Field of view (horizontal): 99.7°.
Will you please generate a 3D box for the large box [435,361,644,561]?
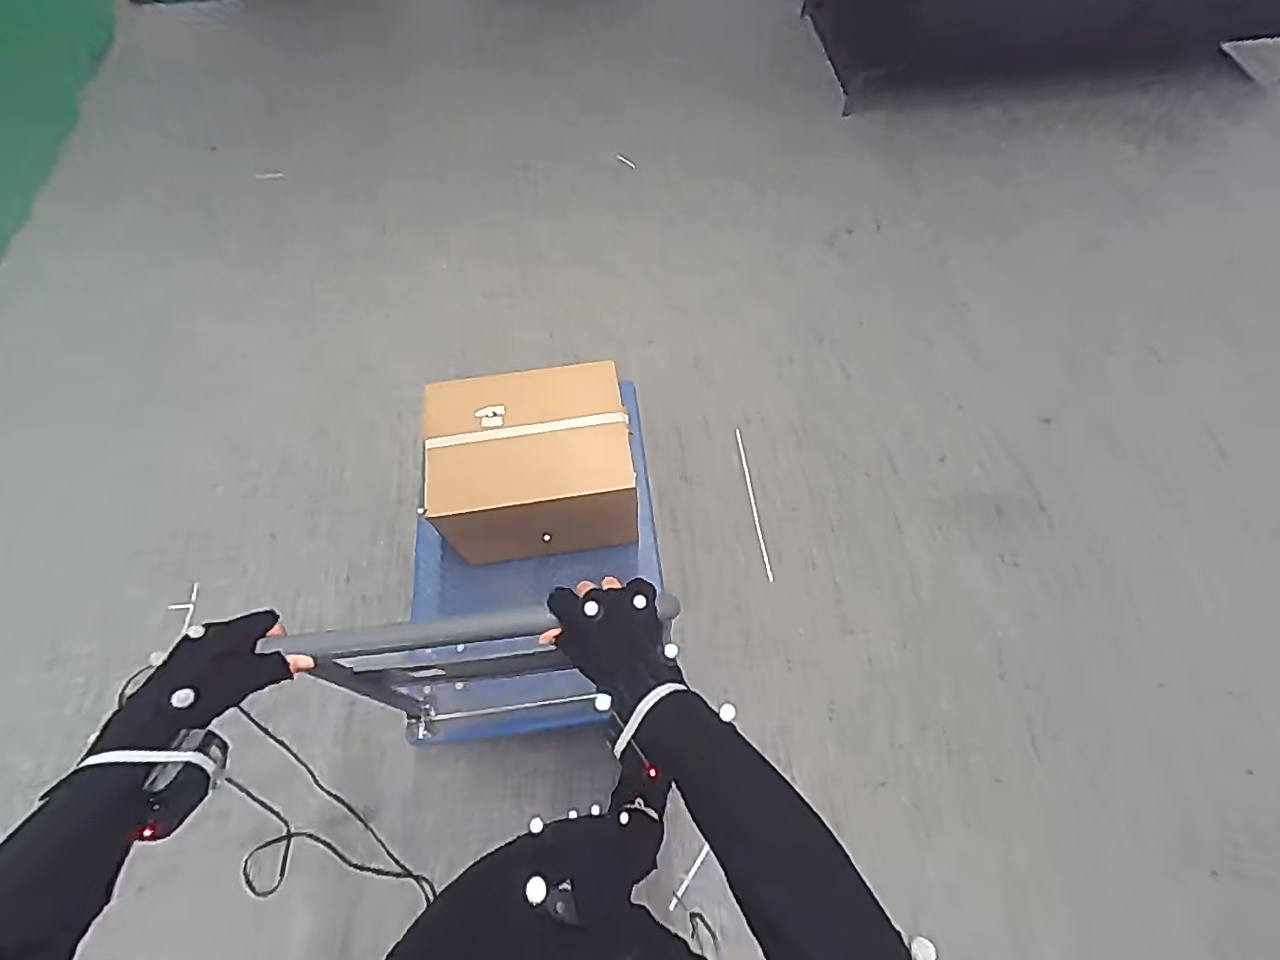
[{"bbox_3d":[-0.213,-0.029,1.234,0.408,0.320,0.320,-9,64,-3],"label":"large box"}]
